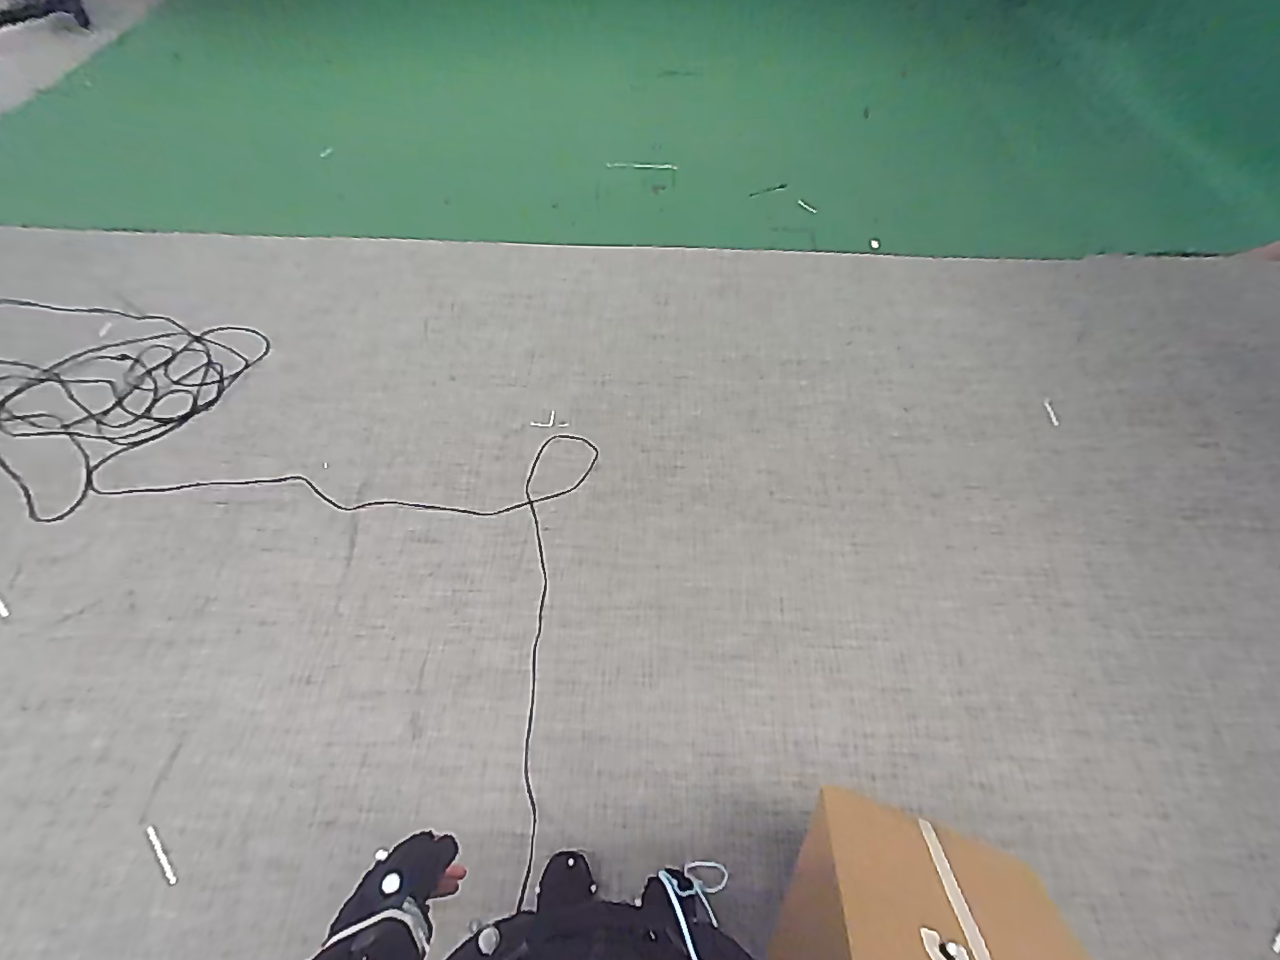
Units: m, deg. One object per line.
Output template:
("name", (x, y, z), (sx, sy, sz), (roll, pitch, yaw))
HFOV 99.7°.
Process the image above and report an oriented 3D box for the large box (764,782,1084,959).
("large box", (0.351, 0.684, 0.668), (0.320, 0.408, 0.320), (17, 97, 11))
